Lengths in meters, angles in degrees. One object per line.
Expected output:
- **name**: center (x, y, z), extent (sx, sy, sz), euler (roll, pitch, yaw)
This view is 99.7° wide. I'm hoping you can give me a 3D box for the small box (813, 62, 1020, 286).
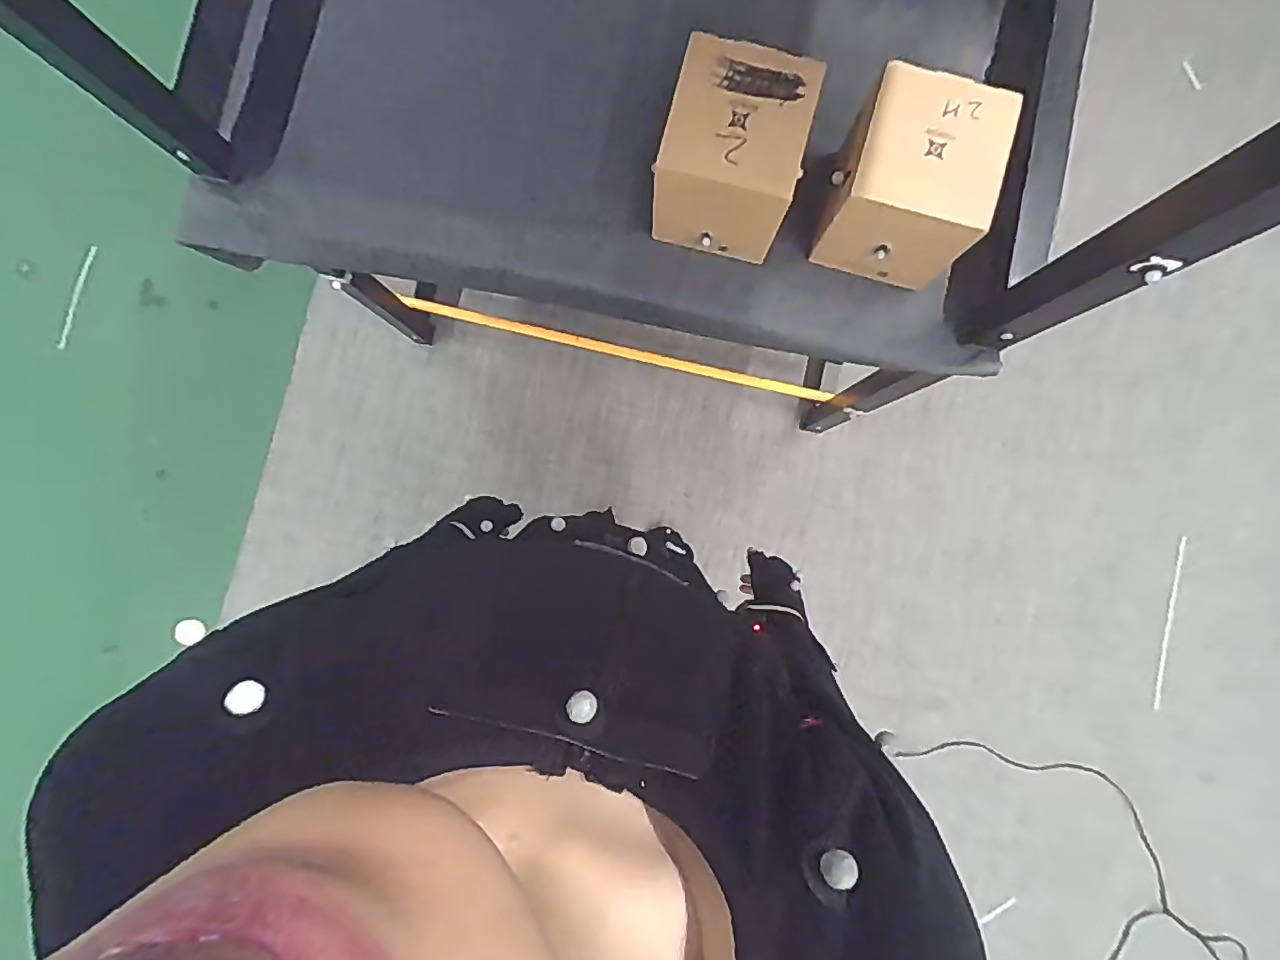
- **small box**: center (0.343, -0.382, 0.708), extent (0.168, 0.176, 0.179), euler (17, 86, 1)
